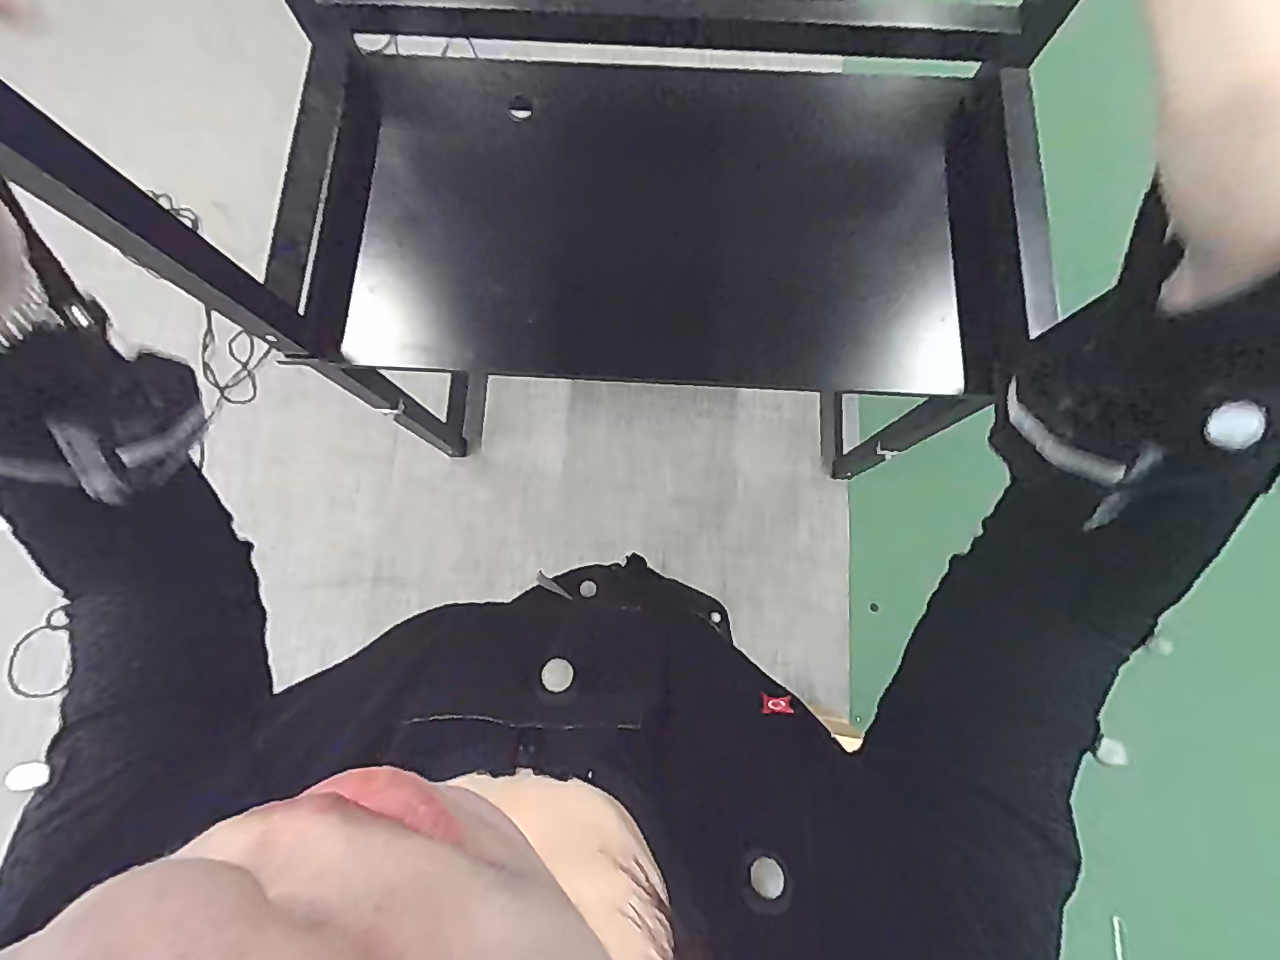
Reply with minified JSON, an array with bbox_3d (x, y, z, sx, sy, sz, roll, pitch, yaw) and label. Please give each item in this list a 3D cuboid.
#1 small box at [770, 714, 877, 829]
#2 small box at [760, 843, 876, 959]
[{"bbox_3d":[0.394,0.627,1.186,0.179,0.176,0.168,10,79,3],"label":"small box"},{"bbox_3d":[0.364,0.900,1.136,0.168,0.176,0.179,-16,80,0],"label":"small box"}]
